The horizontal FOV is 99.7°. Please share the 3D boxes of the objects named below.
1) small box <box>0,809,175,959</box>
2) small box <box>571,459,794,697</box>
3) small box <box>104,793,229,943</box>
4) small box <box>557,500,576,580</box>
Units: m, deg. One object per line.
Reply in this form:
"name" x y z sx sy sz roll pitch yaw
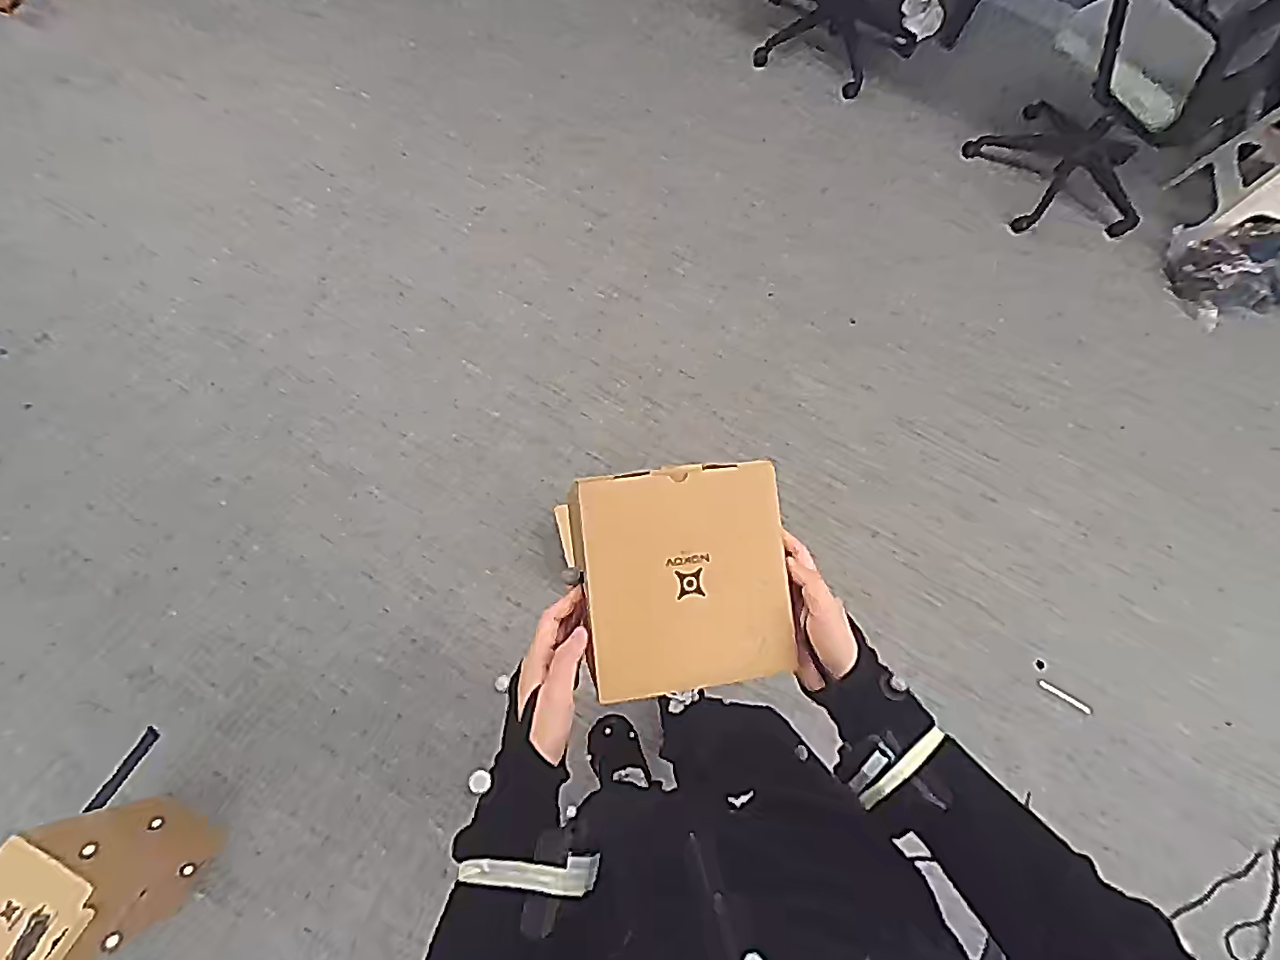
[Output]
"small box" -0.970 0.696 0.923 0.179 0.176 0.168 26 71 5
"small box" 0.026 0.081 0.511 0.168 0.176 0.179 -6 86 -10
"small box" -0.985 0.754 1.077 0.179 0.176 0.168 25 70 5
"small box" -0.109 0.145 1.354 0.168 0.176 0.179 -14 73 -10
